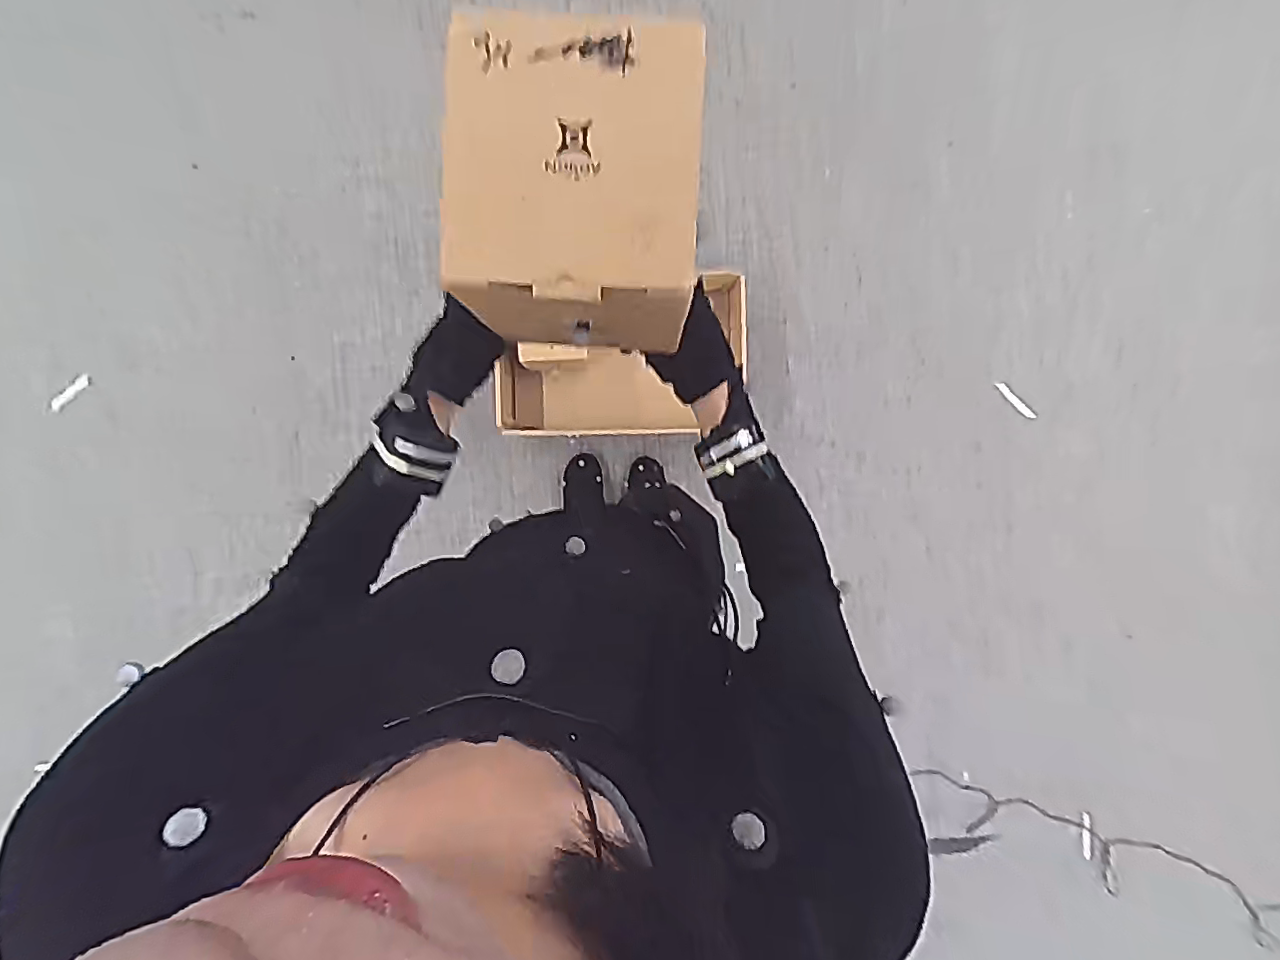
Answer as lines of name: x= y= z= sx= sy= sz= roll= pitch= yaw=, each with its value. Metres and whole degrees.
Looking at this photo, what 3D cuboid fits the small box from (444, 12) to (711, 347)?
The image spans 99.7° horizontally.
small box: x=-0.039 y=-0.209 z=0.425 sx=0.168 sy=0.176 sz=0.179 roll=3 pitch=91 yaw=0
